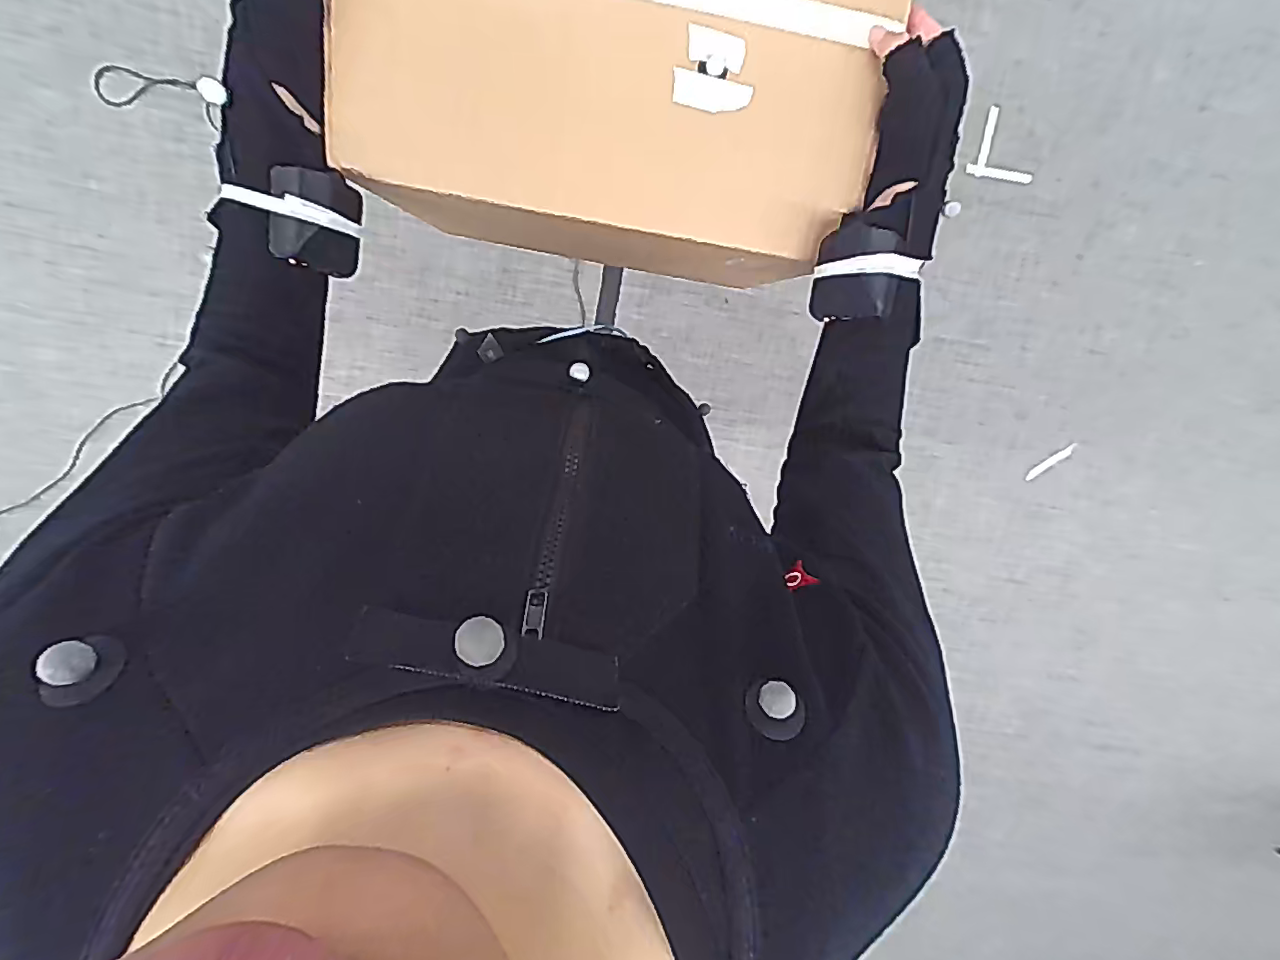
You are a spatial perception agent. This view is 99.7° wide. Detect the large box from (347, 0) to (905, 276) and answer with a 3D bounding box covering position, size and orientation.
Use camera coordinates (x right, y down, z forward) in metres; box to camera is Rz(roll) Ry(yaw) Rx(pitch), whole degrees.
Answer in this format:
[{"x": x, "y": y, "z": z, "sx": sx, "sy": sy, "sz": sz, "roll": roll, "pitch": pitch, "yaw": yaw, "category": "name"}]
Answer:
[{"x": -0.016, "y": -0.399, "z": 0.528, "sx": 0.408, "sy": 0.320, "sz": 0.320, "roll": 7, "pitch": 107, "yaw": -8, "category": "large box"}]
